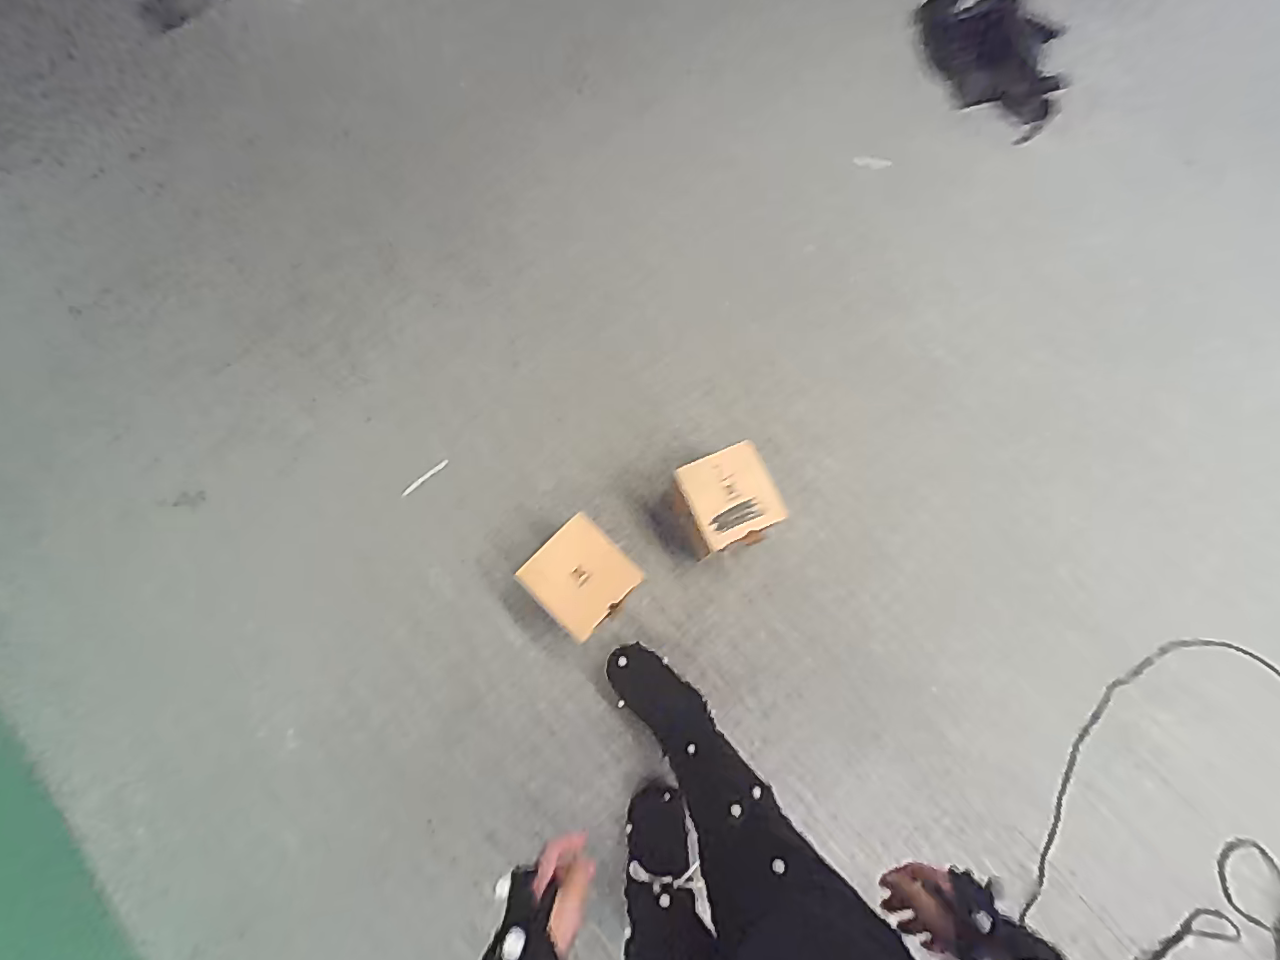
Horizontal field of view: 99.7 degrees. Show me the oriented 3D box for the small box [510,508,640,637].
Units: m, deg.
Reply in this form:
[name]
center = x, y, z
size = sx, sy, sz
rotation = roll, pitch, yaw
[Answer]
[small box]
center = -0.123, 0.185, 1.048
size = 0.179, 0.176, 0.168
rotation = 43, 76, 7
